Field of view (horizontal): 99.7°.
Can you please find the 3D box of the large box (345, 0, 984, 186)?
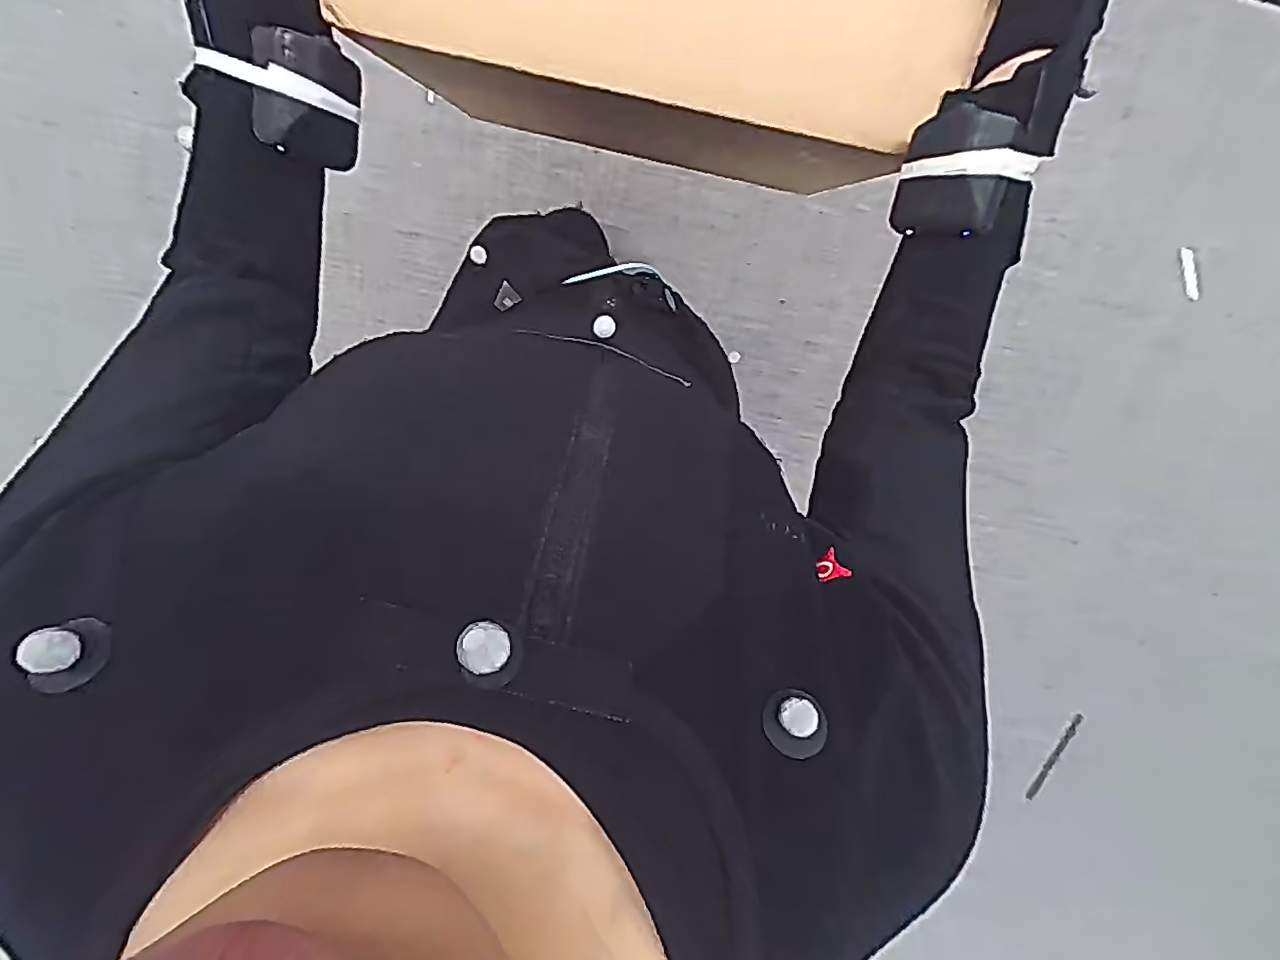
[{"bbox_3d":[0.031,-0.453,0.431,0.408,0.320,0.320,10,115,-5],"label":"large box"}]
